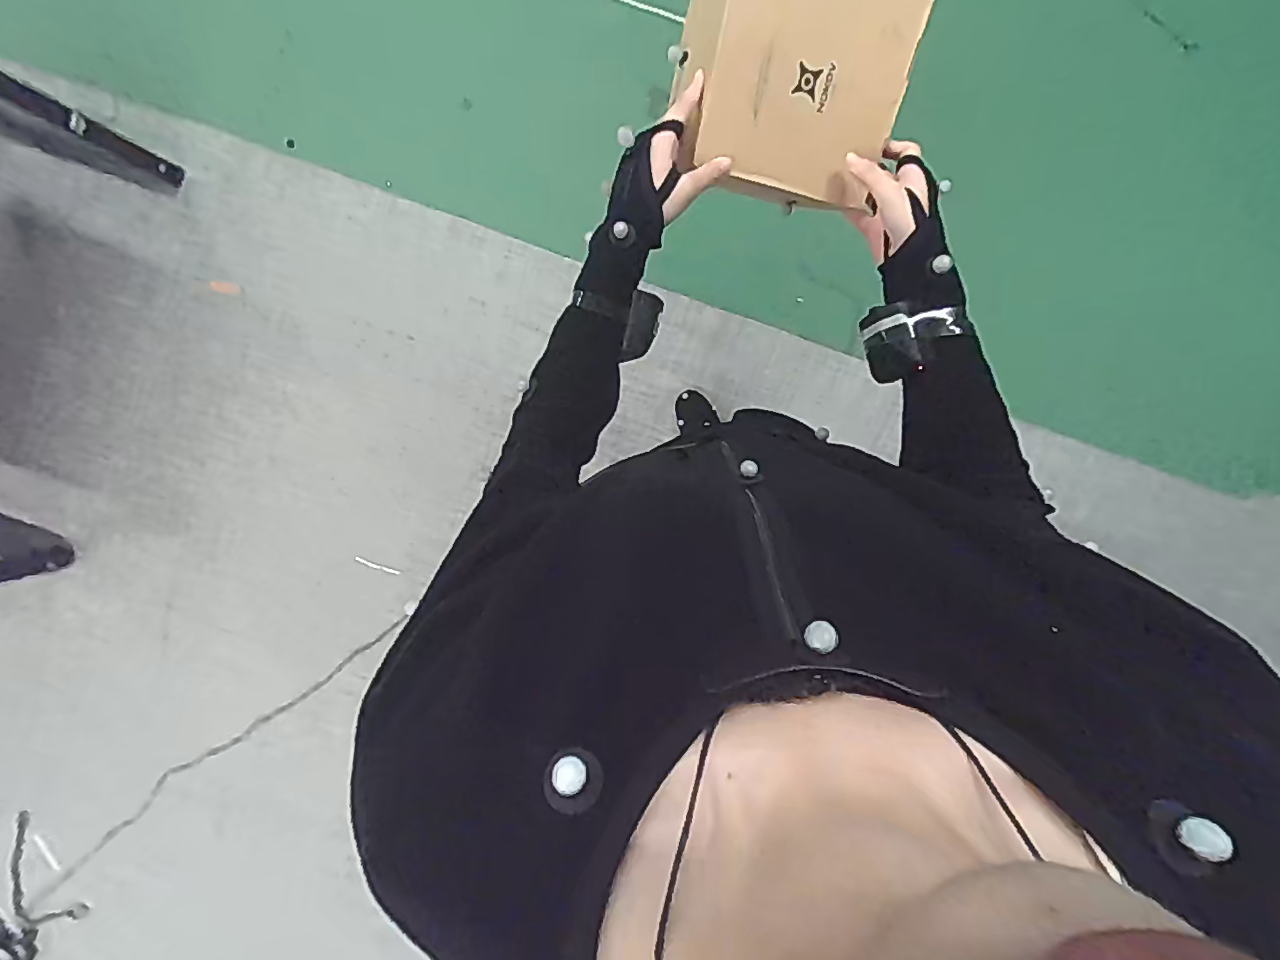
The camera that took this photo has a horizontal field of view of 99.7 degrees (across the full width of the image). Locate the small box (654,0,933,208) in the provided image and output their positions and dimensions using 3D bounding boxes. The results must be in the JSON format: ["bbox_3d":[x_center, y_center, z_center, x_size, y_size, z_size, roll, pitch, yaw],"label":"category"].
[{"bbox_3d":[0.128,-0.376,0.524,0.179,0.176,0.168,7,116,-15],"label":"small box"}]
